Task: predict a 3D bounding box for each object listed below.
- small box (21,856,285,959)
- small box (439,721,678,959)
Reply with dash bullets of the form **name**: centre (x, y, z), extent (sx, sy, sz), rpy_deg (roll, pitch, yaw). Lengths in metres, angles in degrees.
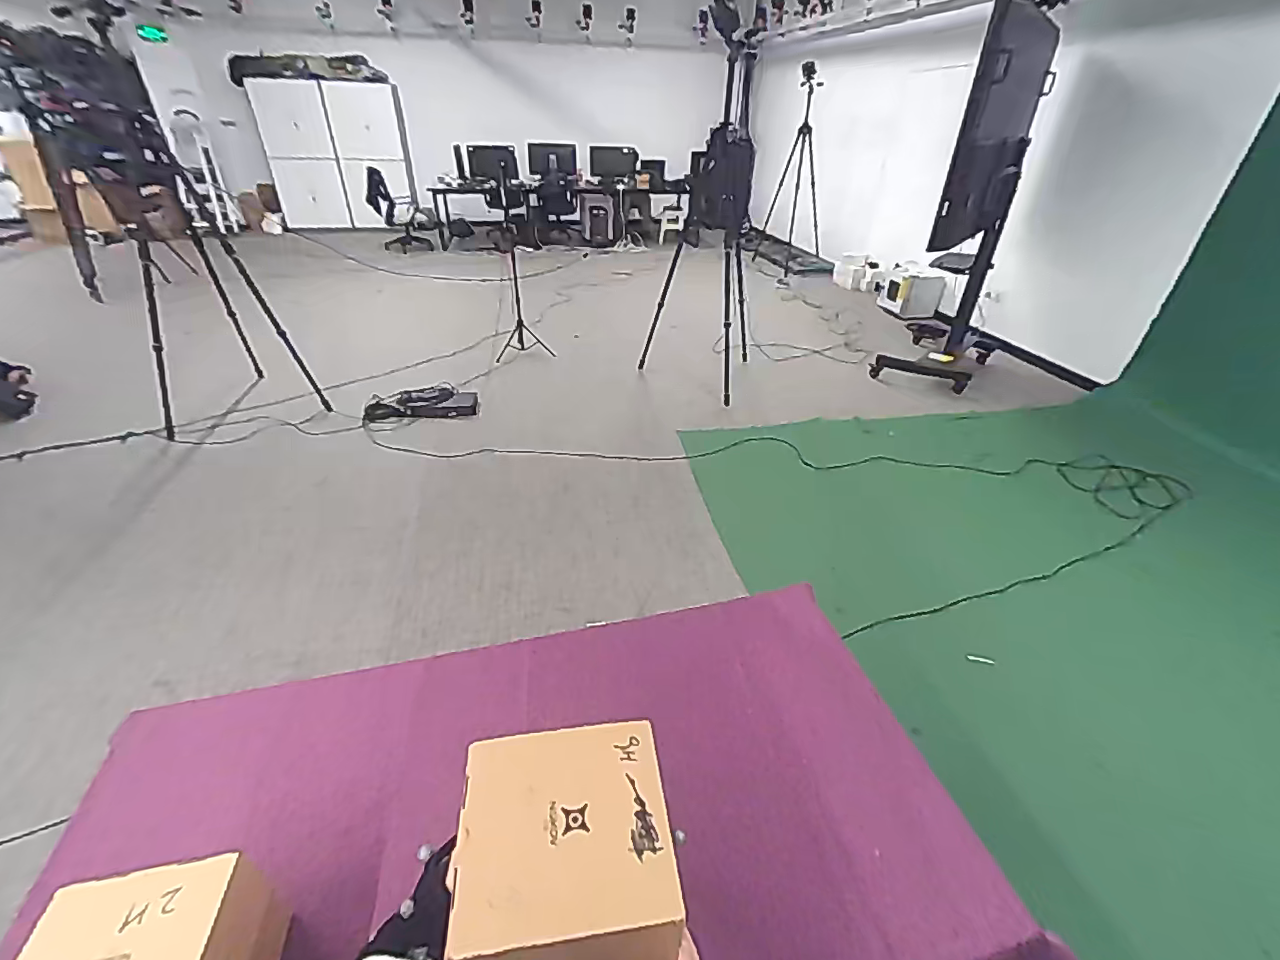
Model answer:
- **small box**: centre (-0.486, 0.517, 0.532), extent (0.168, 0.176, 0.179), rpy_deg (-5, 34, -10)
- **small box**: centre (-0.066, 0.353, 0.496), extent (0.179, 0.176, 0.168), rpy_deg (-4, 33, -7)
